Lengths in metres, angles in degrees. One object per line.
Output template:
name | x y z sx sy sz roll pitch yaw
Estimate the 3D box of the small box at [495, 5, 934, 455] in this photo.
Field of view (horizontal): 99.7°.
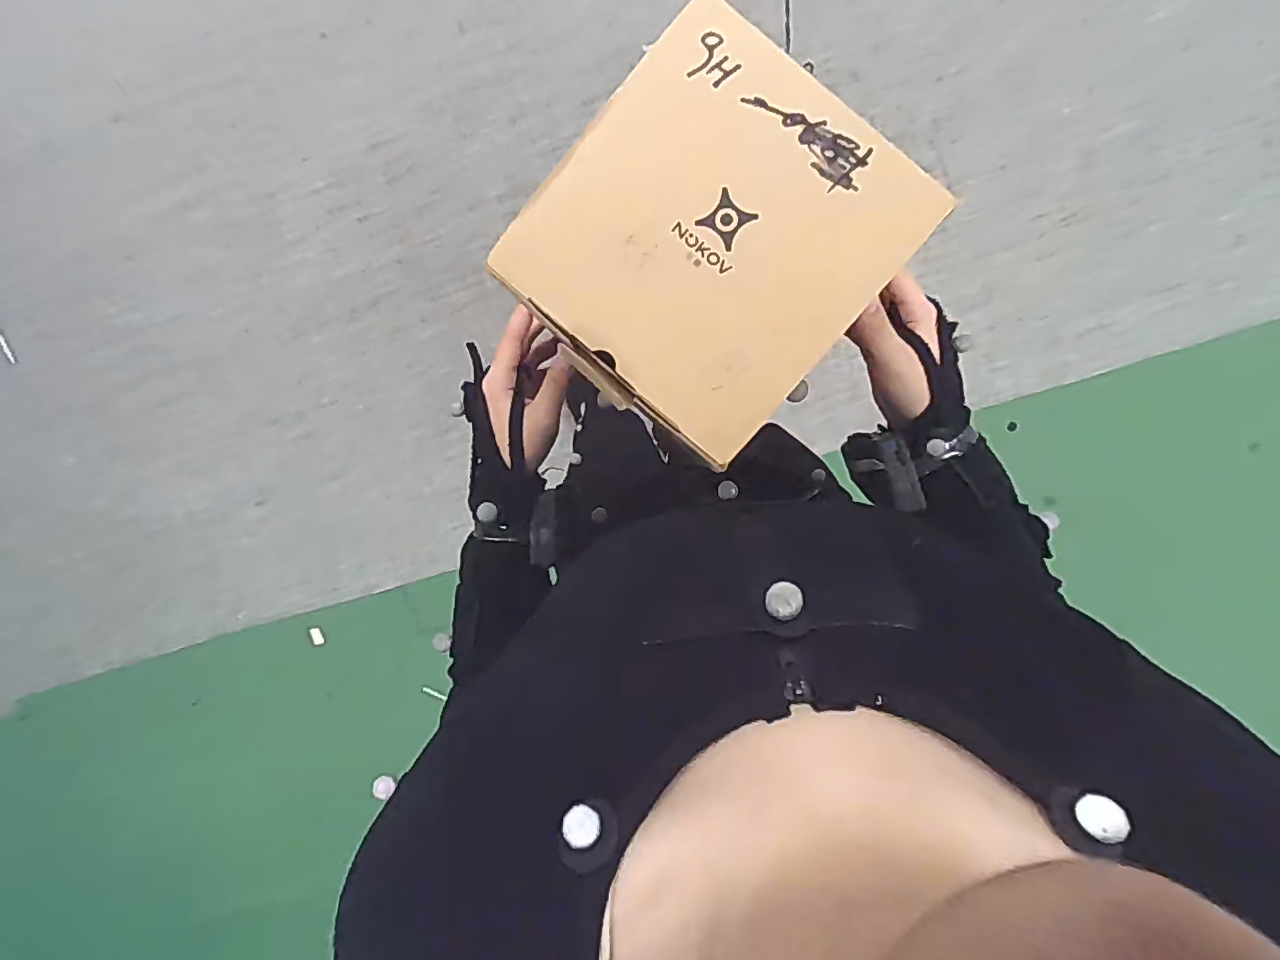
small box | 0.042 -0.132 0.363 0.168 0.176 0.179 41 95 1
